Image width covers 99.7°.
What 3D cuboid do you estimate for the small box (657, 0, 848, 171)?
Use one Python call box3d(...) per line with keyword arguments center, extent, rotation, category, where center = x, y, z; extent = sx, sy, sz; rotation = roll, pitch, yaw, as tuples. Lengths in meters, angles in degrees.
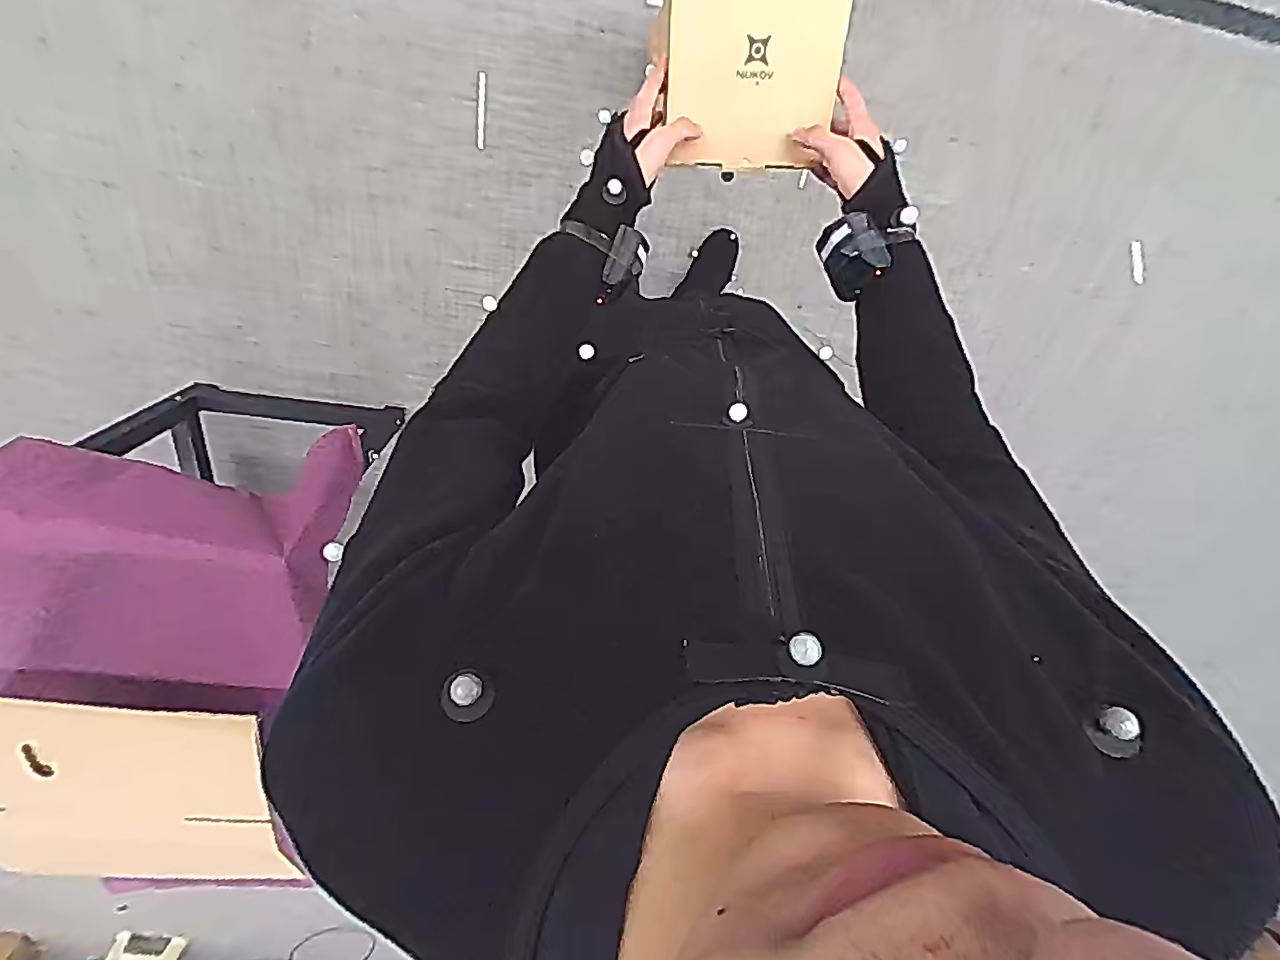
box3d(center=(0.105, -0.441, 0.582), extent=(0.168, 0.176, 0.179), rotation=(1, 123, -2), category="small box")
